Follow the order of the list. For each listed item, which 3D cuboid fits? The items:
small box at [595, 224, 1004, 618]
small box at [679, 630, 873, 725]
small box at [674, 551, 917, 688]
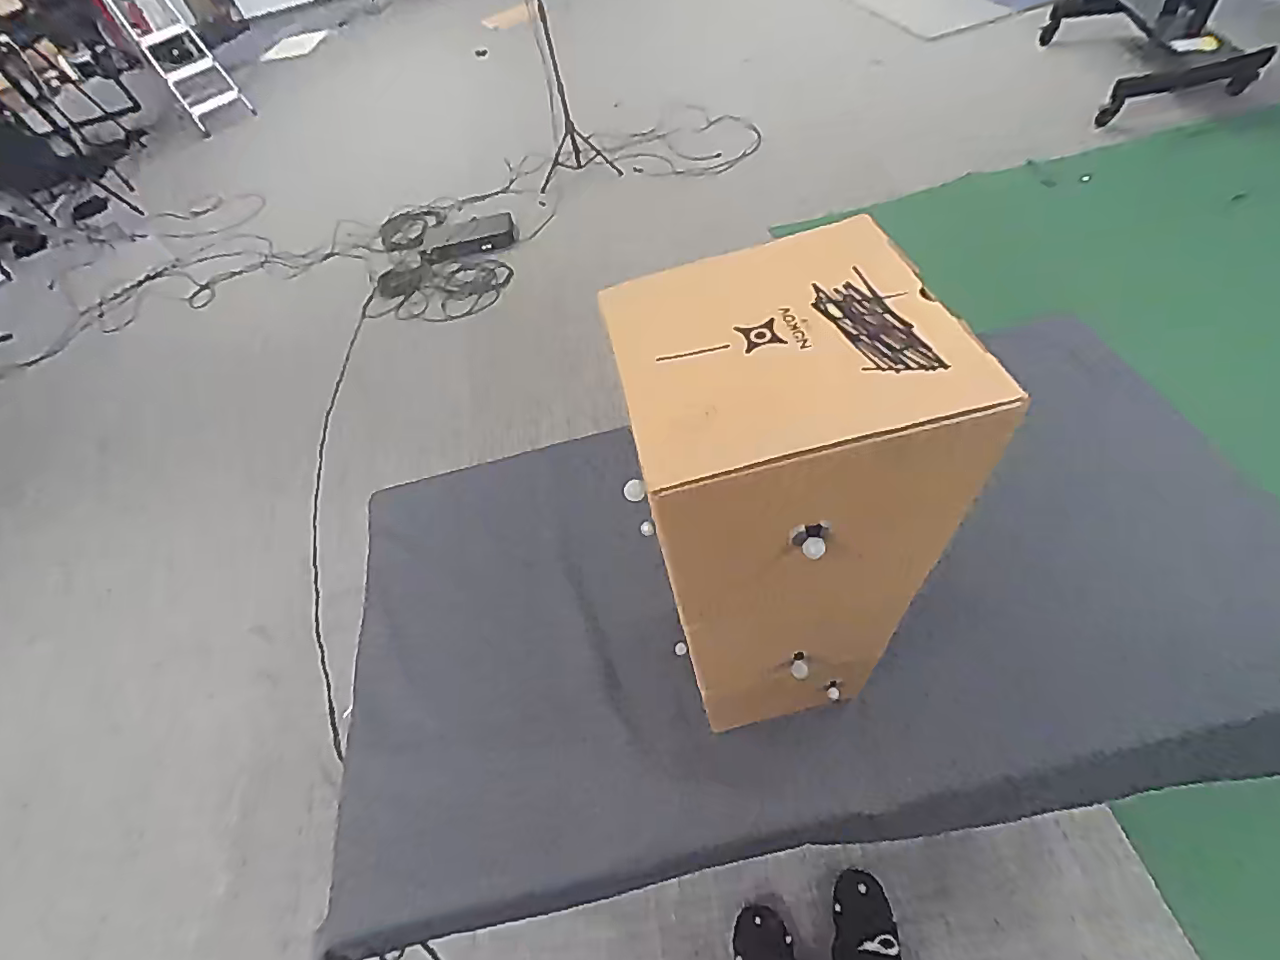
[{"bbox_3d":[0.081,-0.030,0.356,0.179,0.176,0.168,-14,53,2],"label":"small box"},{"bbox_3d":[0.134,0.161,0.618,0.179,0.176,0.168,-16,53,1],"label":"small box"},{"bbox_3d":[0.108,0.068,0.489,0.179,0.176,0.168,-17,54,0],"label":"small box"}]
